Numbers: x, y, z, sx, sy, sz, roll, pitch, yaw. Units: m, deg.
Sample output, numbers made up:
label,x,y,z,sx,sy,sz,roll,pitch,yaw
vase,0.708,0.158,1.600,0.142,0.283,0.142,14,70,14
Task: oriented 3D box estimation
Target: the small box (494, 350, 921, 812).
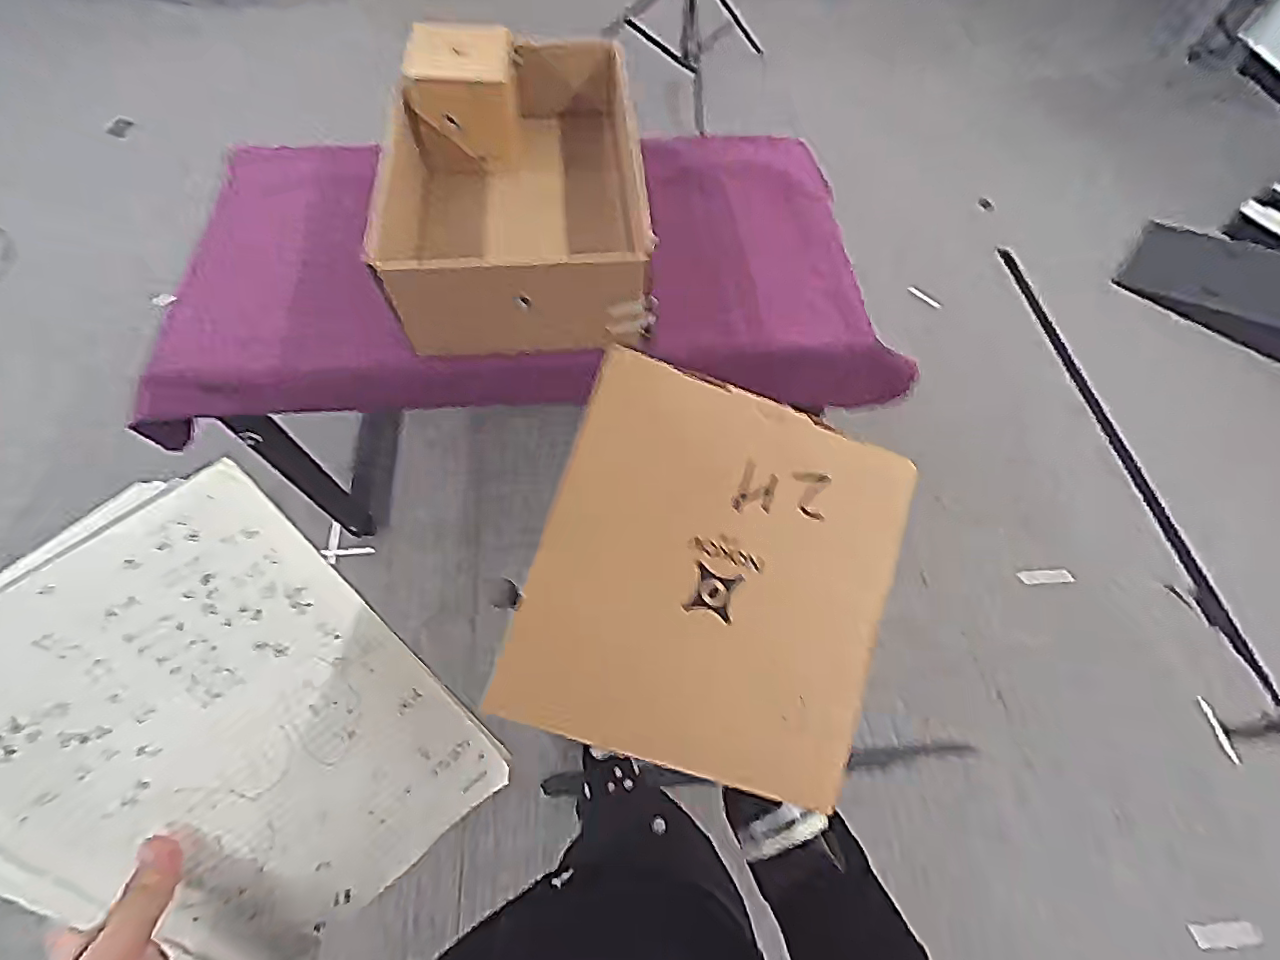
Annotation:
label,x,y,z,sx,sy,sz,roll,pitch,yaw
small box,0.028,0.054,0.331,0.168,0.176,0.179,20,80,-6
